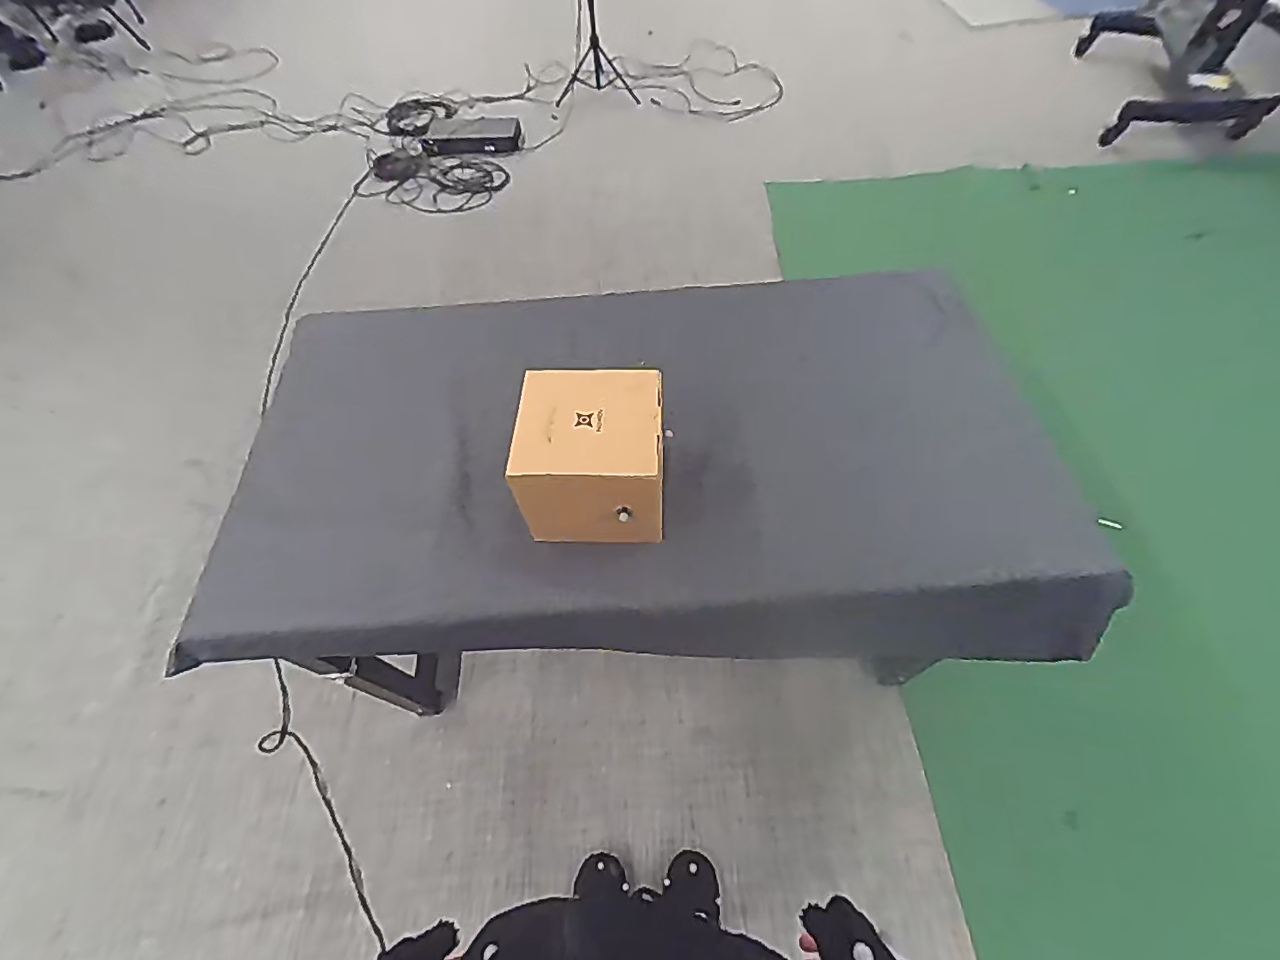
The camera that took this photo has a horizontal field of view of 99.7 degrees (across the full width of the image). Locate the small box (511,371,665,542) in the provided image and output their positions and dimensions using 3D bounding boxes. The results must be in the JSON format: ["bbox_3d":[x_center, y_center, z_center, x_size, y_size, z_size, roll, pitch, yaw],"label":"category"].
[{"bbox_3d":[-0.055,-0.027,0.721,0.179,0.176,0.168,-1,56,4],"label":"small box"}]
